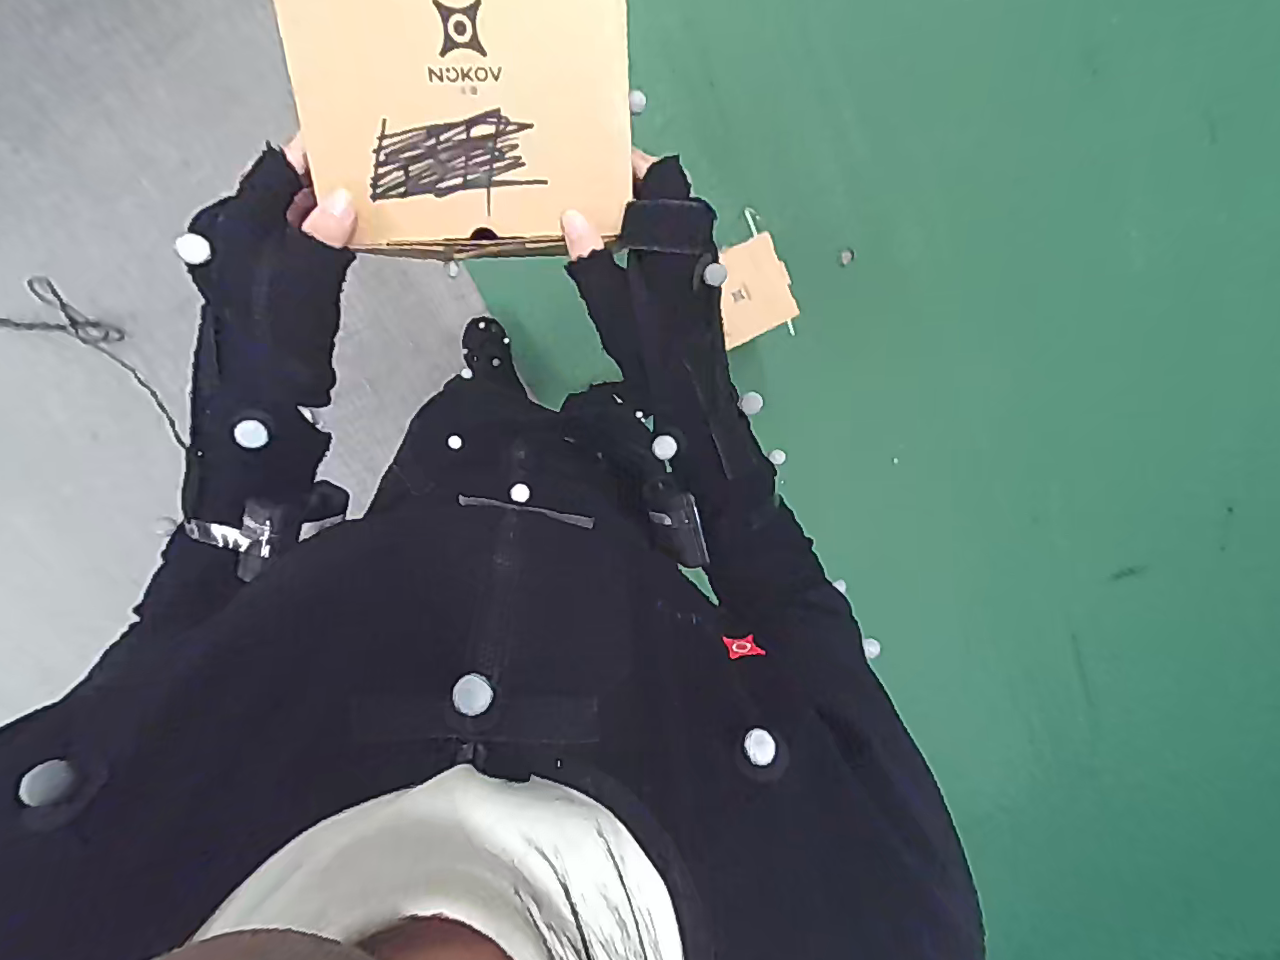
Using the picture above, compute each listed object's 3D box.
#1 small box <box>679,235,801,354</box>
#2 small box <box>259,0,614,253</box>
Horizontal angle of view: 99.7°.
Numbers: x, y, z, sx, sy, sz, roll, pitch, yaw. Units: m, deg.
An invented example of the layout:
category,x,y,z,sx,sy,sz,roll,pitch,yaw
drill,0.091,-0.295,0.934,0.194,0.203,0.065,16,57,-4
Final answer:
category,x,y,z,sx,sy,sz,roll,pitch,yaw
small box,0.195,-0.371,1.098,0.179,0.176,0.168,-26,105,4
small box,-0.102,-0.240,0.339,0.168,0.176,0.179,-4,109,-4
